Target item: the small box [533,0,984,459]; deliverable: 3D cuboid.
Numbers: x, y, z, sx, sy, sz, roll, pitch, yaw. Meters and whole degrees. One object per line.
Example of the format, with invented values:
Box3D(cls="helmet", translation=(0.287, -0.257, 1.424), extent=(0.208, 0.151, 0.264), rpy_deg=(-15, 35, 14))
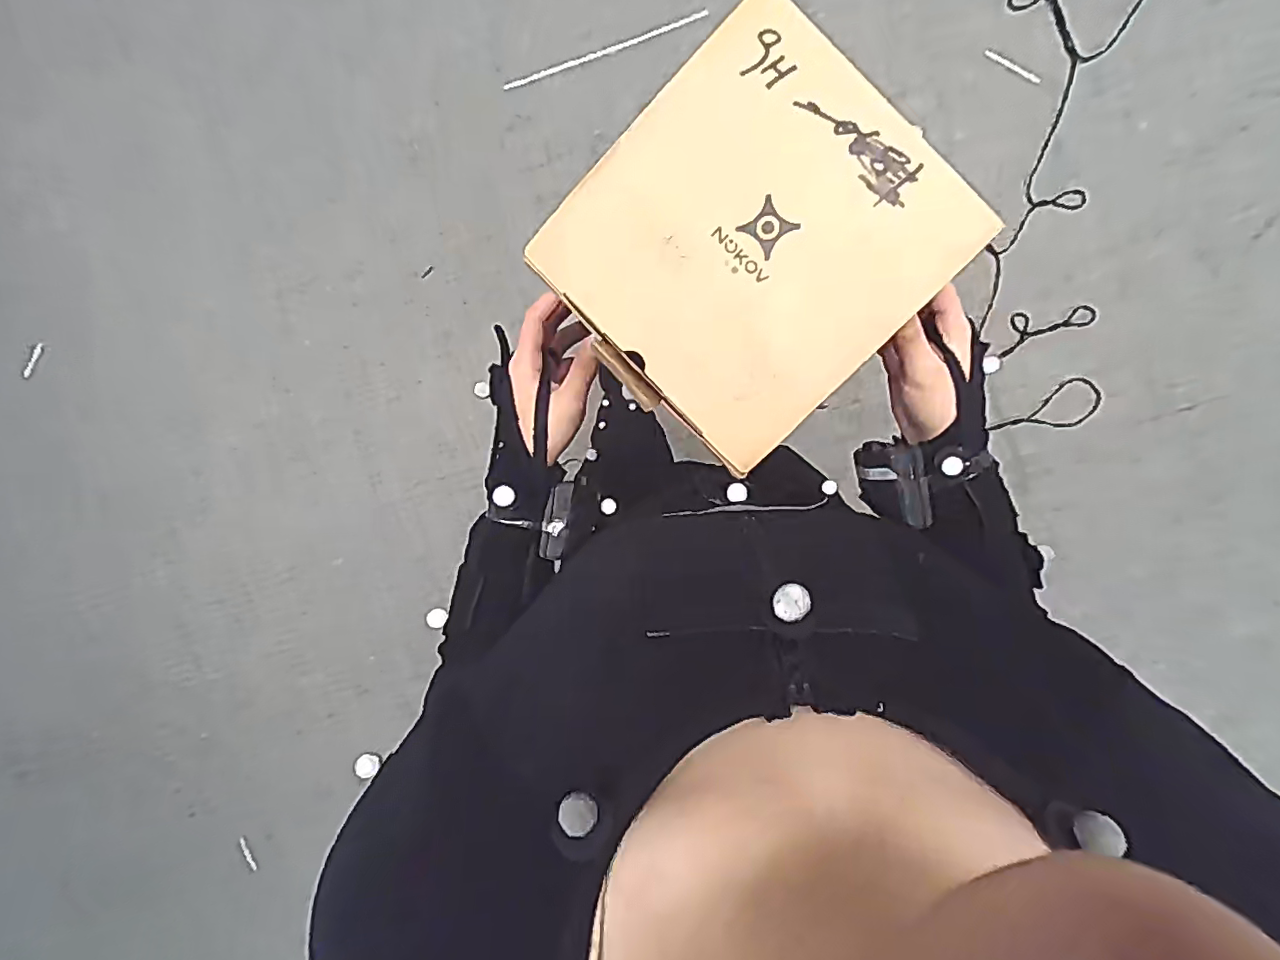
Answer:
Box3D(cls="small box", translation=(0.065, -0.134, 0.359), extent=(0.168, 0.176, 0.179), rpy_deg=(45, 98, -1))
